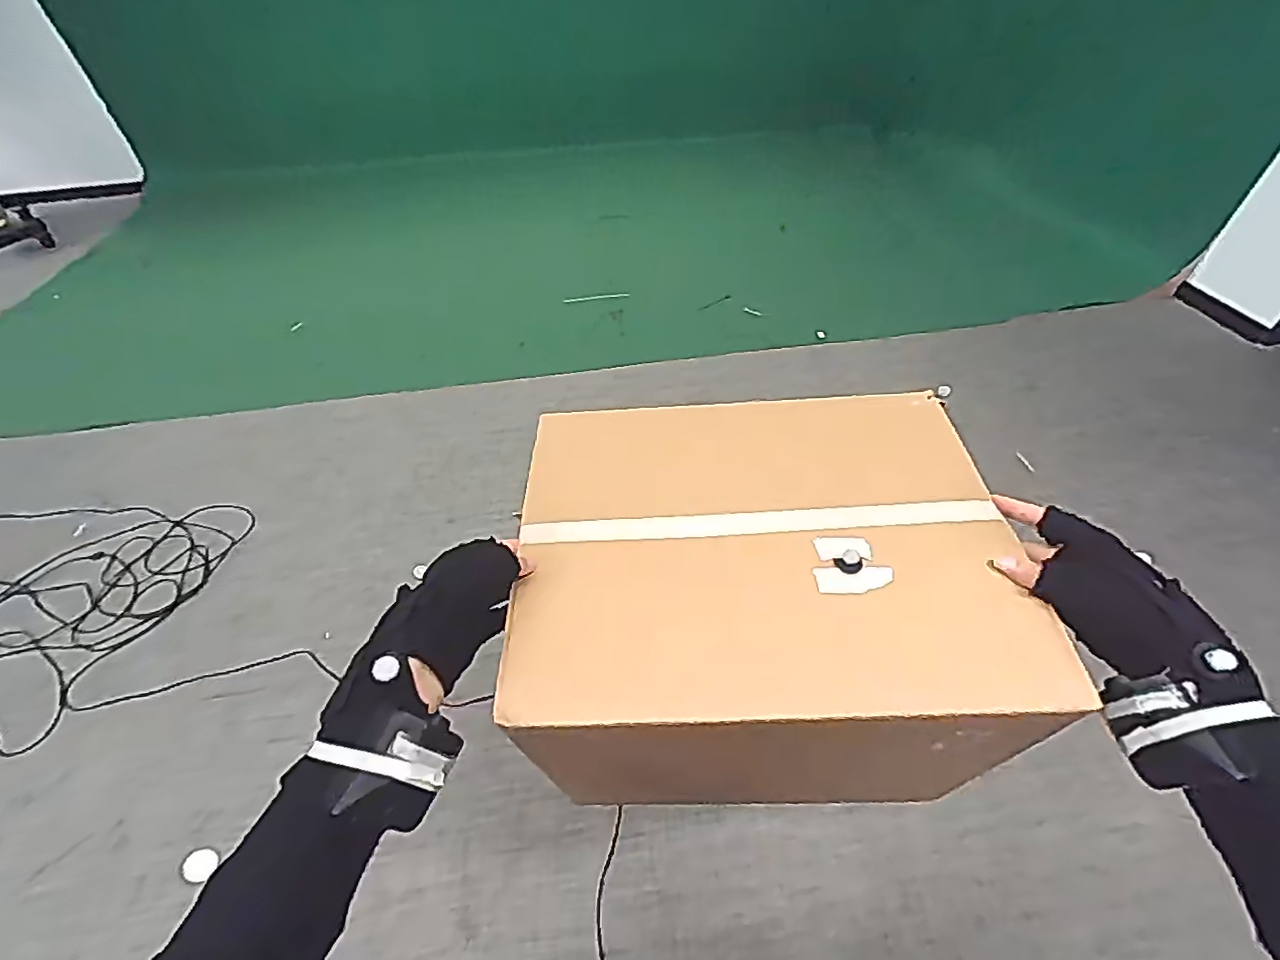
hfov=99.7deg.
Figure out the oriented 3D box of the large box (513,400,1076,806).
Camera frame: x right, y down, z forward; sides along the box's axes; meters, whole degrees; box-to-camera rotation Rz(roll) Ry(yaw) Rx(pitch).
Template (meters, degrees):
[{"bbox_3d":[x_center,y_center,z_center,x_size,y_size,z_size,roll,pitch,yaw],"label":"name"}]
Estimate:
[{"bbox_3d":[0.111,0.143,0.587,0.408,0.320,0.320,-4,50,3],"label":"large box"}]
